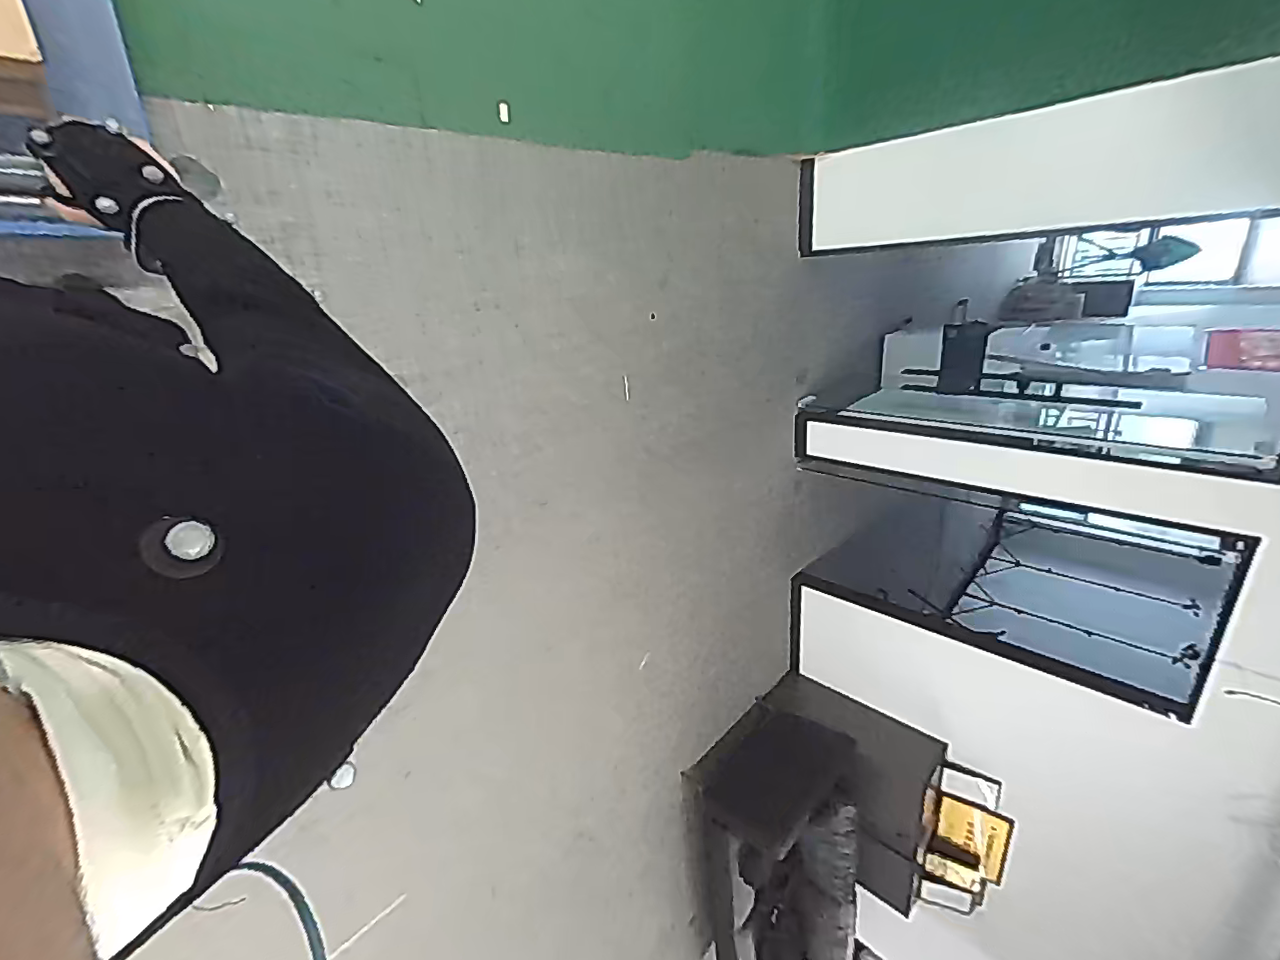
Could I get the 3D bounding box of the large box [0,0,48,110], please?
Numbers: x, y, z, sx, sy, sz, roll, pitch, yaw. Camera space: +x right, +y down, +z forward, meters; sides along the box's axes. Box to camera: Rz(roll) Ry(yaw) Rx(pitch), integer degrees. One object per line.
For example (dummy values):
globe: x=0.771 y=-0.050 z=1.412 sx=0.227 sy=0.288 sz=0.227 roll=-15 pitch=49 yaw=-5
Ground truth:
large box: x=-1.045 y=-0.744 z=0.670 sx=0.320 sy=0.320 sz=0.408 roll=-23 pitch=118 yaw=-40
